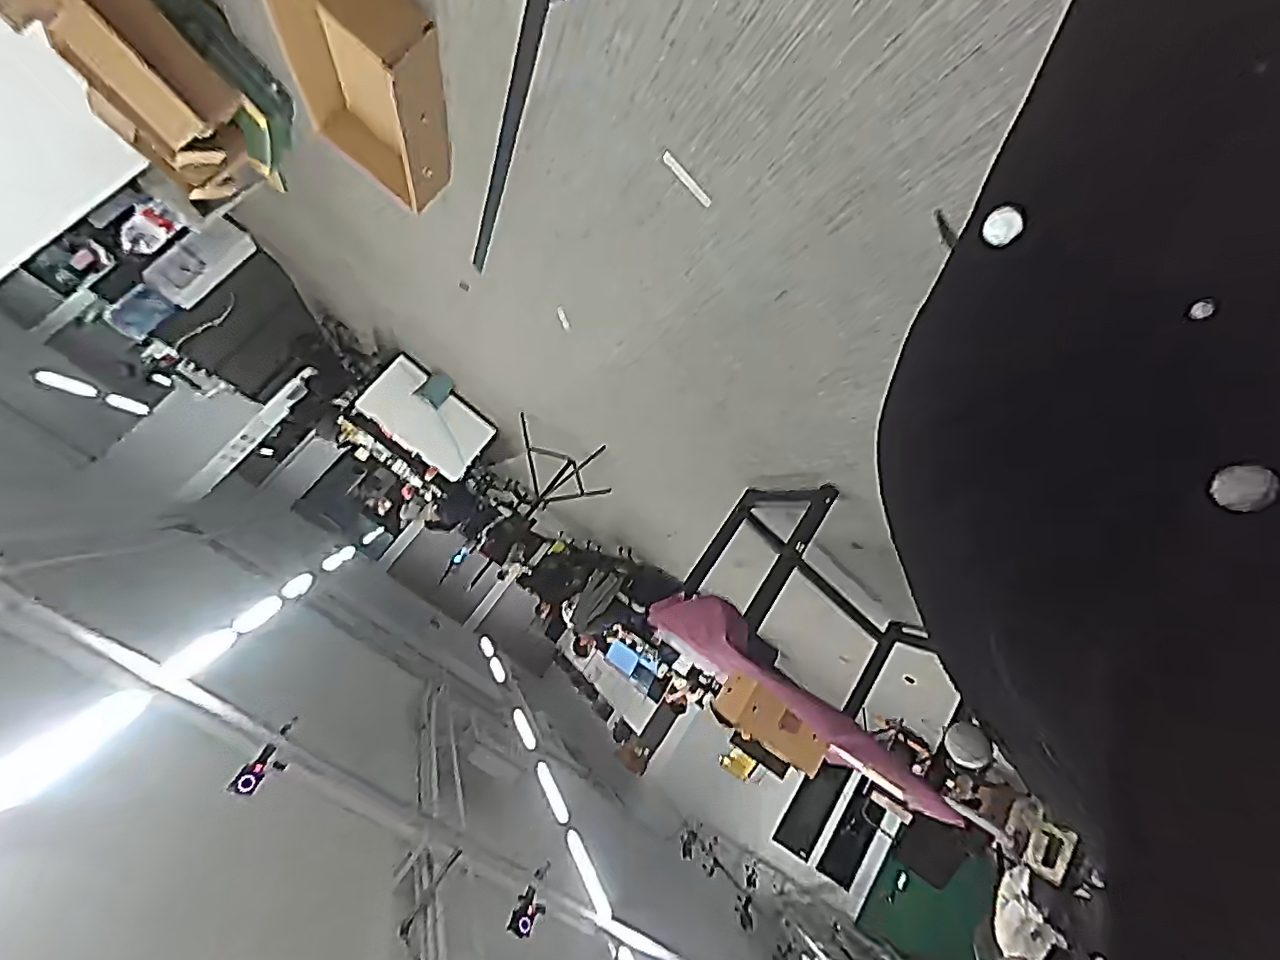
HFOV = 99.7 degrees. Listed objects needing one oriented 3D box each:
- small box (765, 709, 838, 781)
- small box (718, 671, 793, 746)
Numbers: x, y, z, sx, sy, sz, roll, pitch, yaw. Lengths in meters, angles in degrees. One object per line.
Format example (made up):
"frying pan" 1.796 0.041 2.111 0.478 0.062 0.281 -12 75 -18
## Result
"small box" 0.627 1.015 2.095 0.179 0.176 0.168 41 165 -15
"small box" 0.433 0.848 2.026 0.179 0.176 0.168 40 167 -18
